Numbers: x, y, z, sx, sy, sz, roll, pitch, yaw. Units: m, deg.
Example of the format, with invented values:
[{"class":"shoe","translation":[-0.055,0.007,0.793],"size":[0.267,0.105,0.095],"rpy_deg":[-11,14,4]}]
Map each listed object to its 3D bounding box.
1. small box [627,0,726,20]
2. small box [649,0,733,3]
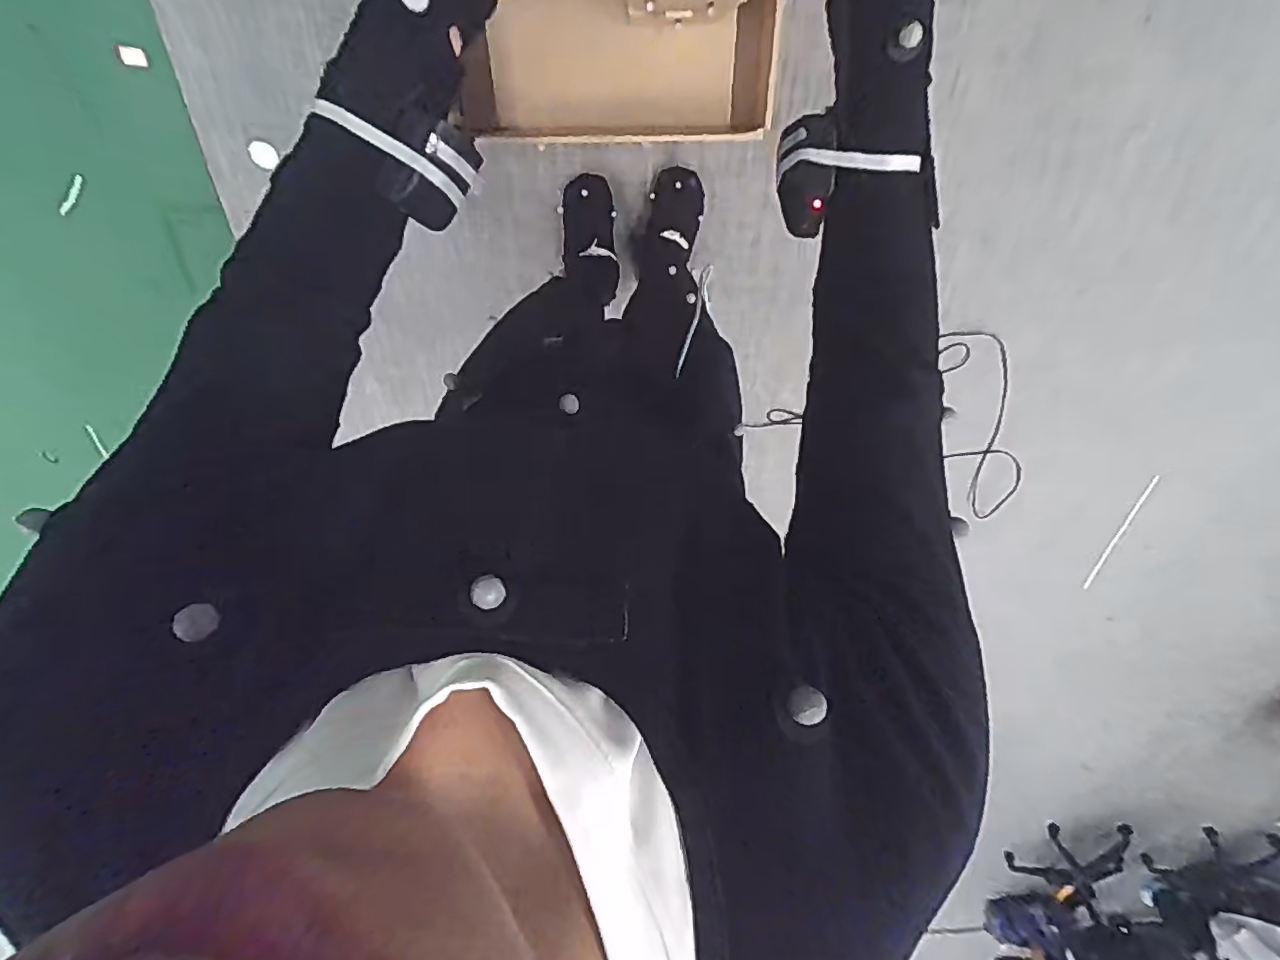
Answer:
[{"class":"small box","translation":[0.062,-0.875,0.882],"size":[0.168,0.176,0.179],"rpy_deg":[-2,125,5]},{"class":"small box","translation":[0.070,-0.770,0.733],"size":[0.168,0.176,0.179],"rpy_deg":[1,125,1]}]
